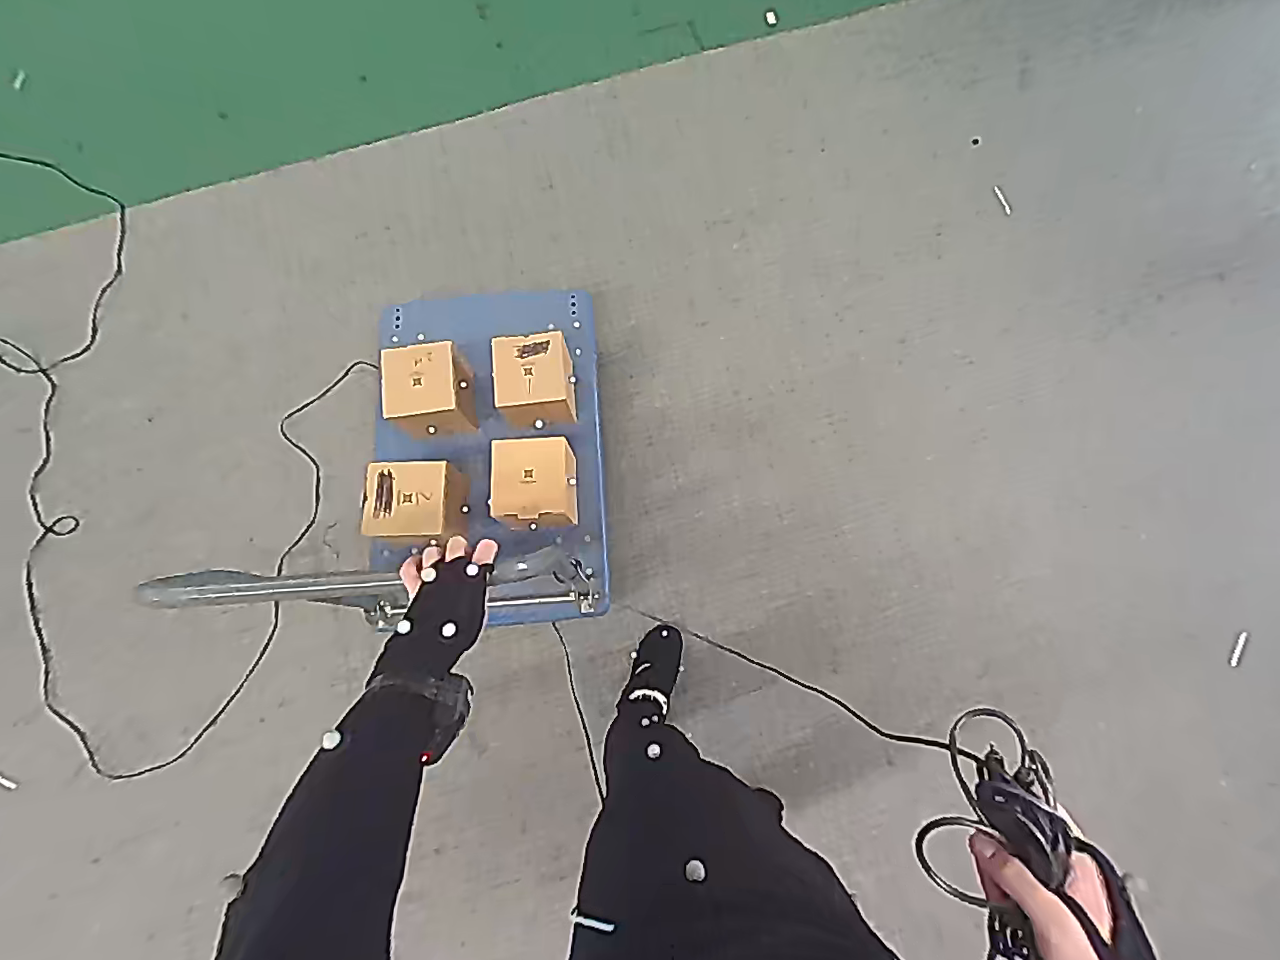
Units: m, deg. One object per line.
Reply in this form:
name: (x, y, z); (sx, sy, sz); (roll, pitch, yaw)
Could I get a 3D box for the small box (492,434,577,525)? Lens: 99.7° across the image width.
small box: (-0.240, 0.004, 1.257); (0.168, 0.176, 0.179); (-3, 77, 0)

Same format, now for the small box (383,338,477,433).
small box: (-0.505, -0.221, 1.315); (0.168, 0.176, 0.179); (-7, 77, -1)

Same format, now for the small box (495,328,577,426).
small box: (-0.249, -0.245, 1.315); (0.168, 0.176, 0.179); (-6, 78, 1)
